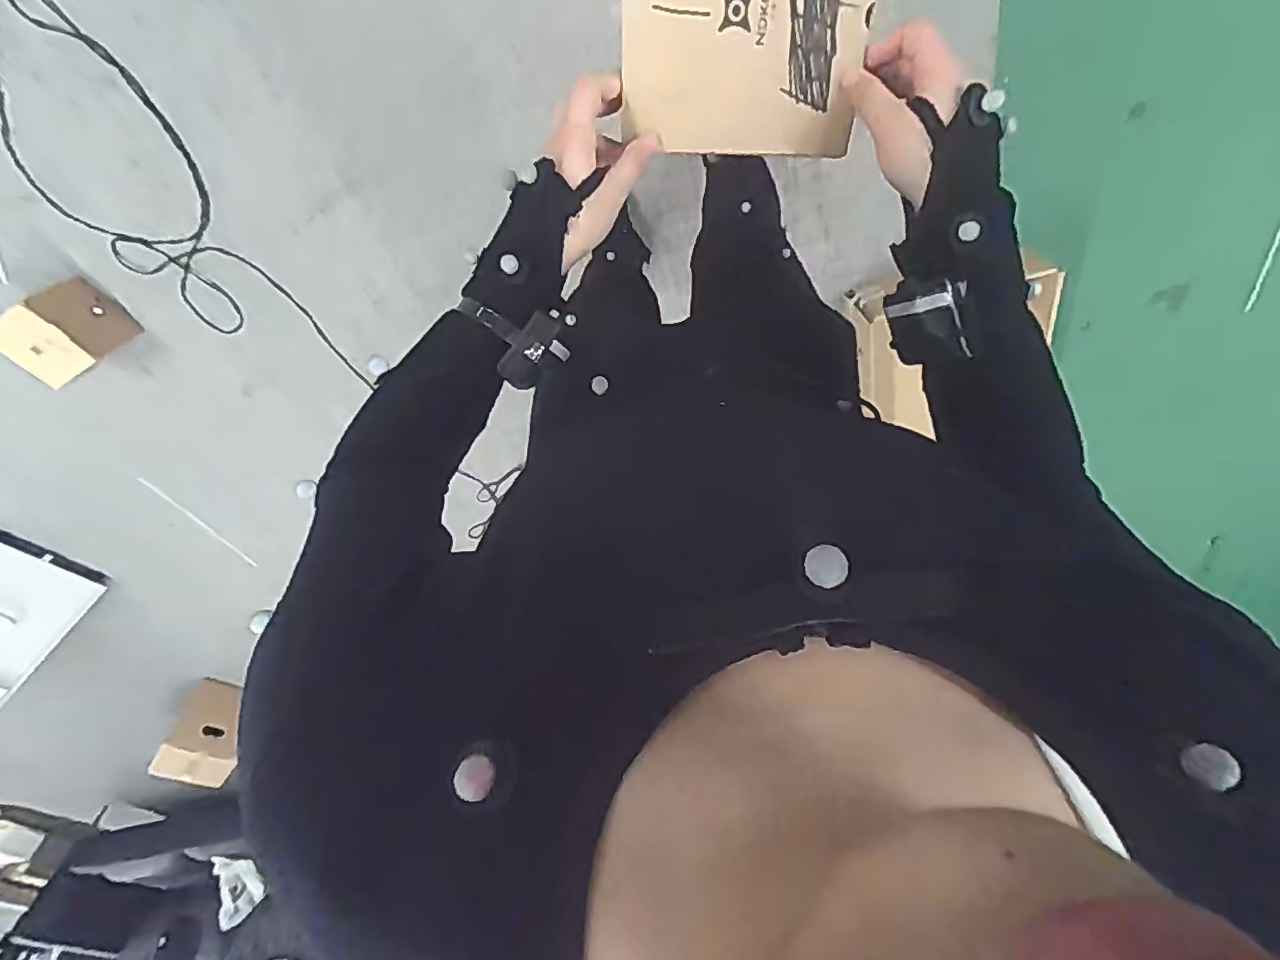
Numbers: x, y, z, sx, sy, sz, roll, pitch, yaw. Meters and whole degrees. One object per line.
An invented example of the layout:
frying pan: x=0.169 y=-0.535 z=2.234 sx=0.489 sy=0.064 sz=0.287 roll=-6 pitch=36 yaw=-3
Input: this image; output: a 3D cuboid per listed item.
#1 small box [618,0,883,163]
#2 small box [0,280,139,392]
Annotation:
small box: x=0.075 y=-0.357 z=0.420 sx=0.179 sy=0.176 sz=0.168 roll=2 pitch=129 yaw=2
small box: x=-1.393 y=-0.352 z=1.314 sx=0.179 sy=0.176 sz=0.168 roll=-23 pitch=128 yaw=18
